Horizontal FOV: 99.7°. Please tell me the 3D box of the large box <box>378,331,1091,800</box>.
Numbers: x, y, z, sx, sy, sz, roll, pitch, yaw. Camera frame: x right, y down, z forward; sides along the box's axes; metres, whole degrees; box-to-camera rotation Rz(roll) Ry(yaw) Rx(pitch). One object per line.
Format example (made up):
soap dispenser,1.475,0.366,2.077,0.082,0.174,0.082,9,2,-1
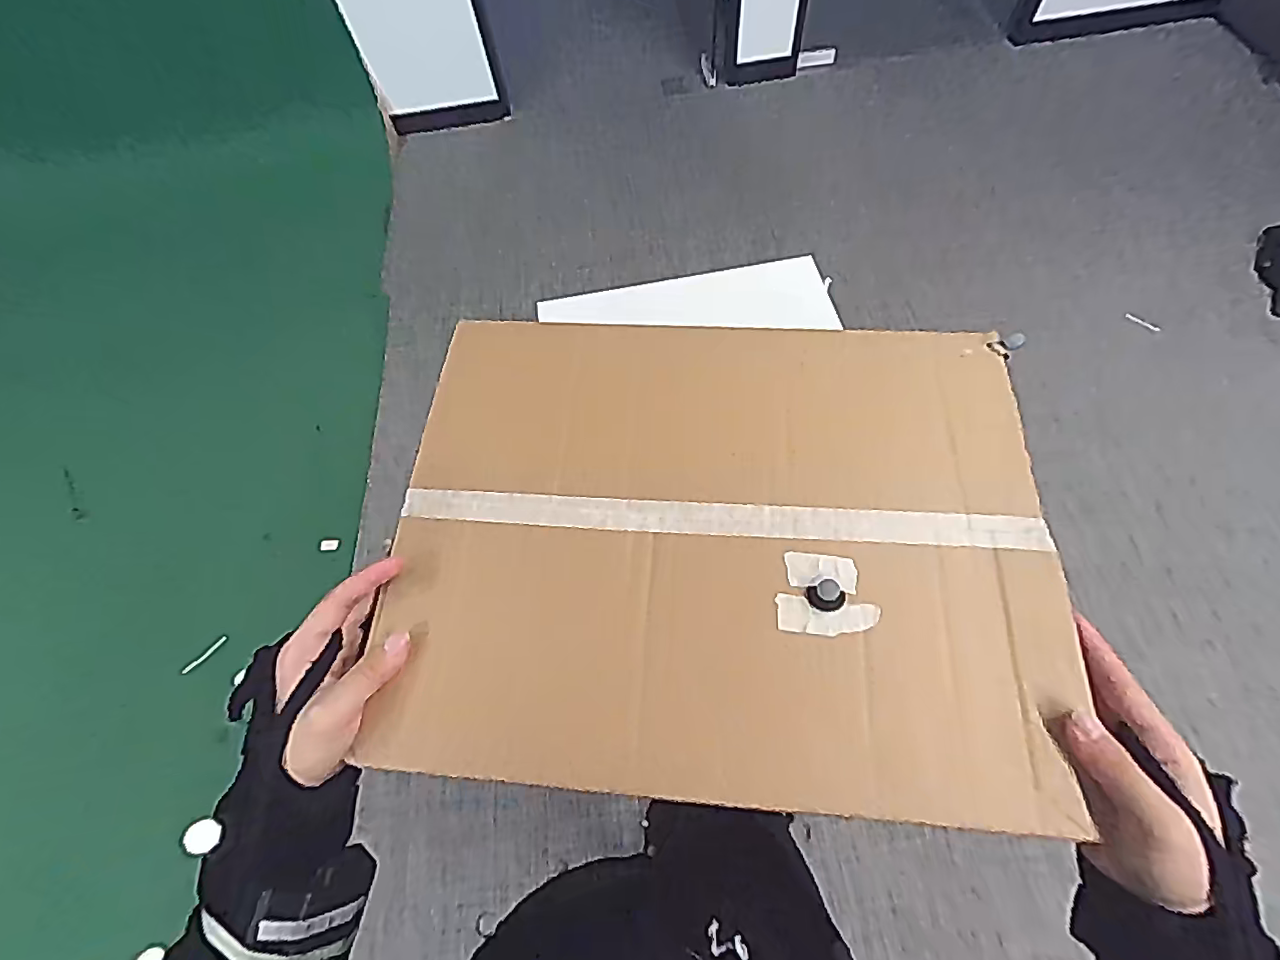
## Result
large box,0.058,0.088,0.496,0.408,0.320,0.320,3,66,4
